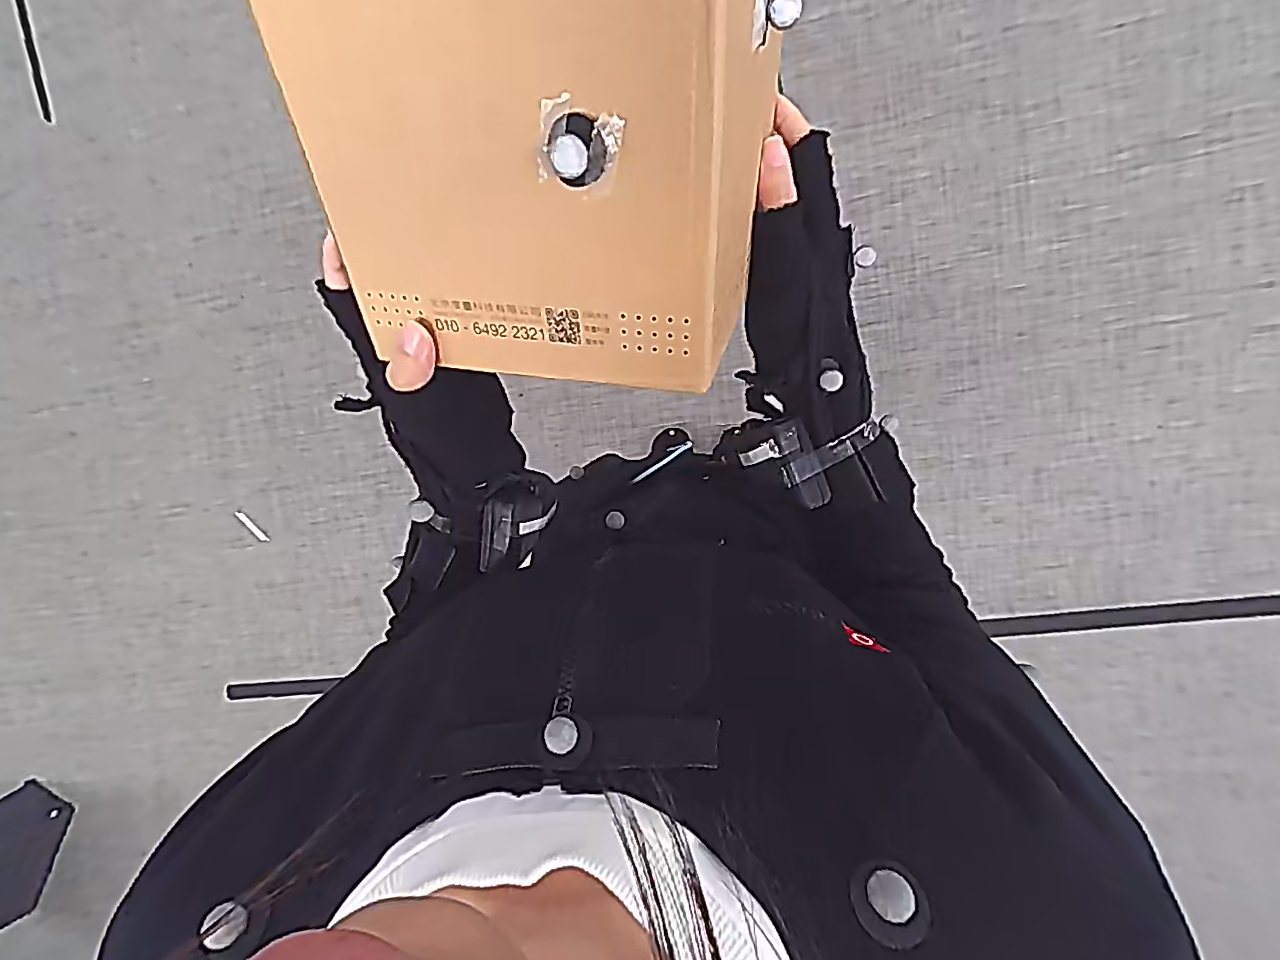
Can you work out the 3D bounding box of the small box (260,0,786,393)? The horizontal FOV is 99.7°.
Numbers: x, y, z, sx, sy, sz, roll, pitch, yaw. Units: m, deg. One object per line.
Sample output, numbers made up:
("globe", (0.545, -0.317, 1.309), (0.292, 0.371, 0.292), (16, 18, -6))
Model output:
("small box", (-0.025, -0.158, 0.263), (0.168, 0.179, 0.176), (10, 130, 15))
